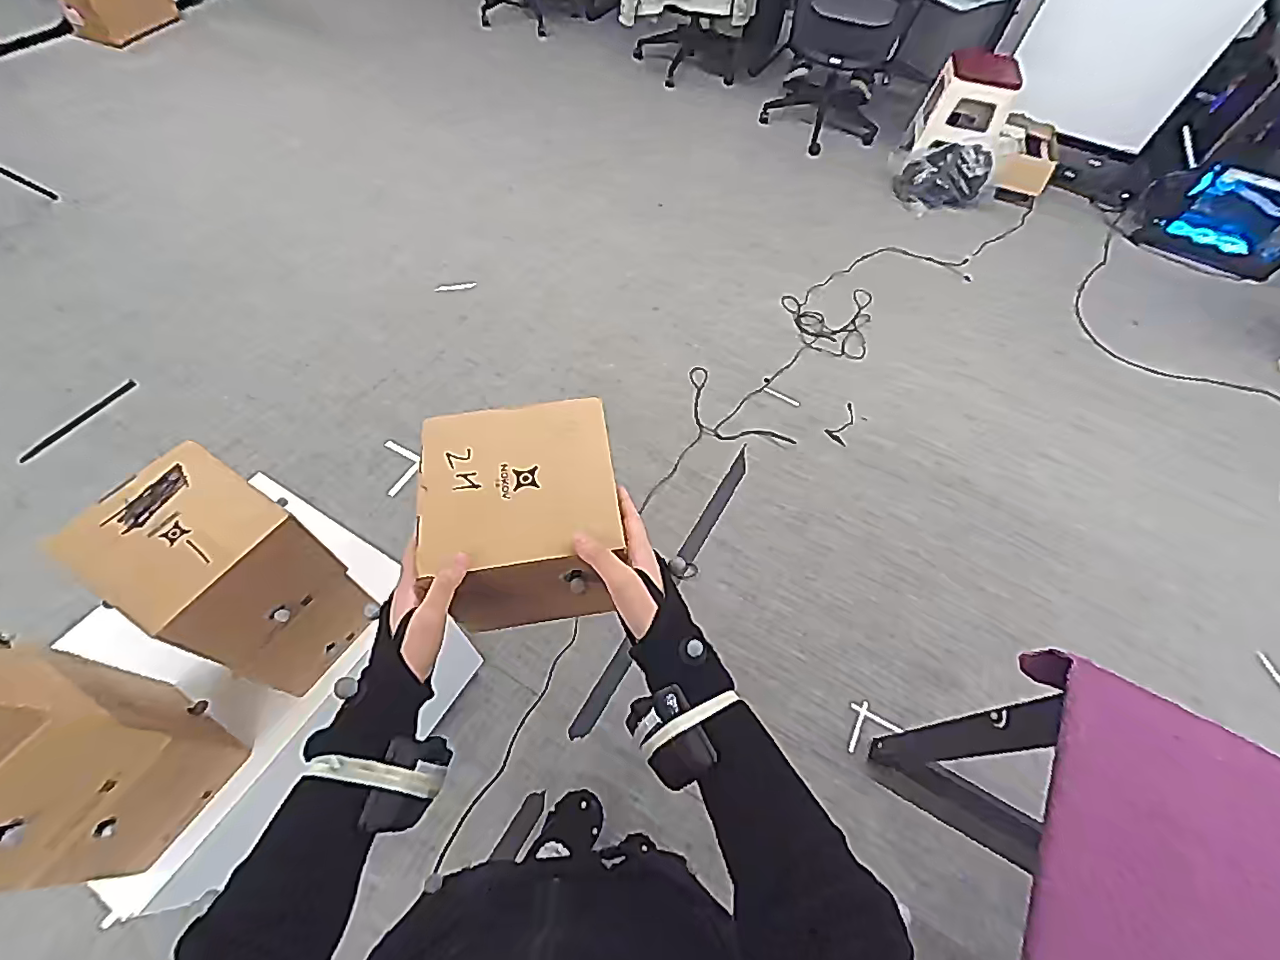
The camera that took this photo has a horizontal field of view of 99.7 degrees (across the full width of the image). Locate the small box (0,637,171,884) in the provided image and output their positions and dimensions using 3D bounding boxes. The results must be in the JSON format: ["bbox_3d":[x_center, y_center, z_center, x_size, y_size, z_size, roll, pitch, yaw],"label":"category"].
[{"bbox_3d":[-0.631,0.268,0.527,0.179,0.176,0.168,27,61,13],"label":"small box"}]

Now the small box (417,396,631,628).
[{"bbox_3d":[-0.106,0.038,0.549,0.179,0.176,0.168,-8,59,-5],"label":"small box"}]

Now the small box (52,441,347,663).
[{"bbox_3d":[-0.497,0.092,0.641,0.179,0.176,0.168,31,62,12],"label":"small box"}]

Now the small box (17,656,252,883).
[{"bbox_3d":[-0.643,0.352,0.665,0.179,0.176,0.168,28,62,14],"label":"small box"}]
